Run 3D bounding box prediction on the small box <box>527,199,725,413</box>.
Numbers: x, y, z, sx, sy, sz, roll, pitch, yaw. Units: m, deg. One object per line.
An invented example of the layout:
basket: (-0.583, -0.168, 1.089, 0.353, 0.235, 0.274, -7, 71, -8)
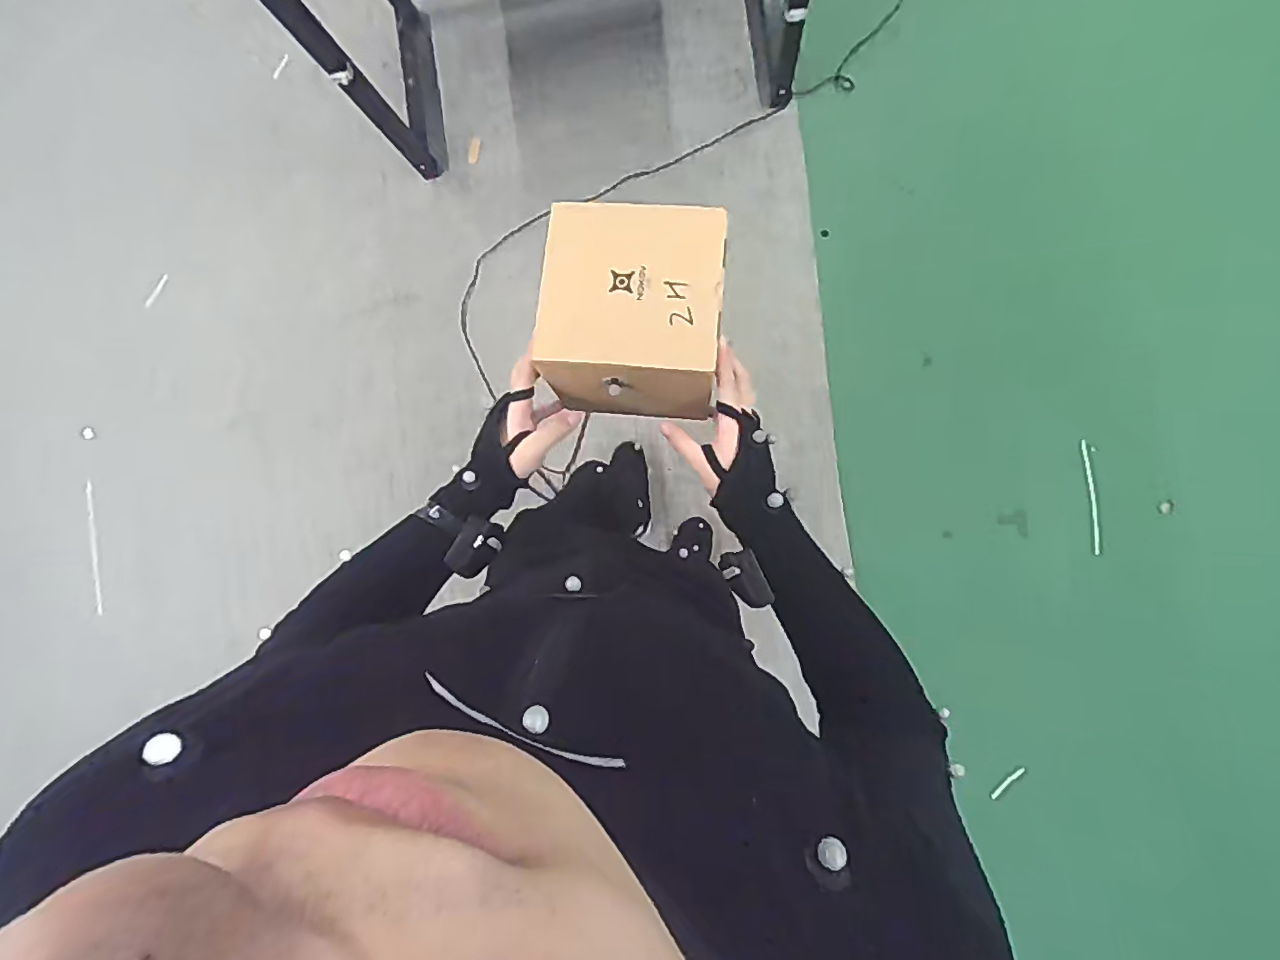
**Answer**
small box: (-0.006, -0.176, 0.588, 0.179, 0.176, 0.168, 5, 82, 5)
